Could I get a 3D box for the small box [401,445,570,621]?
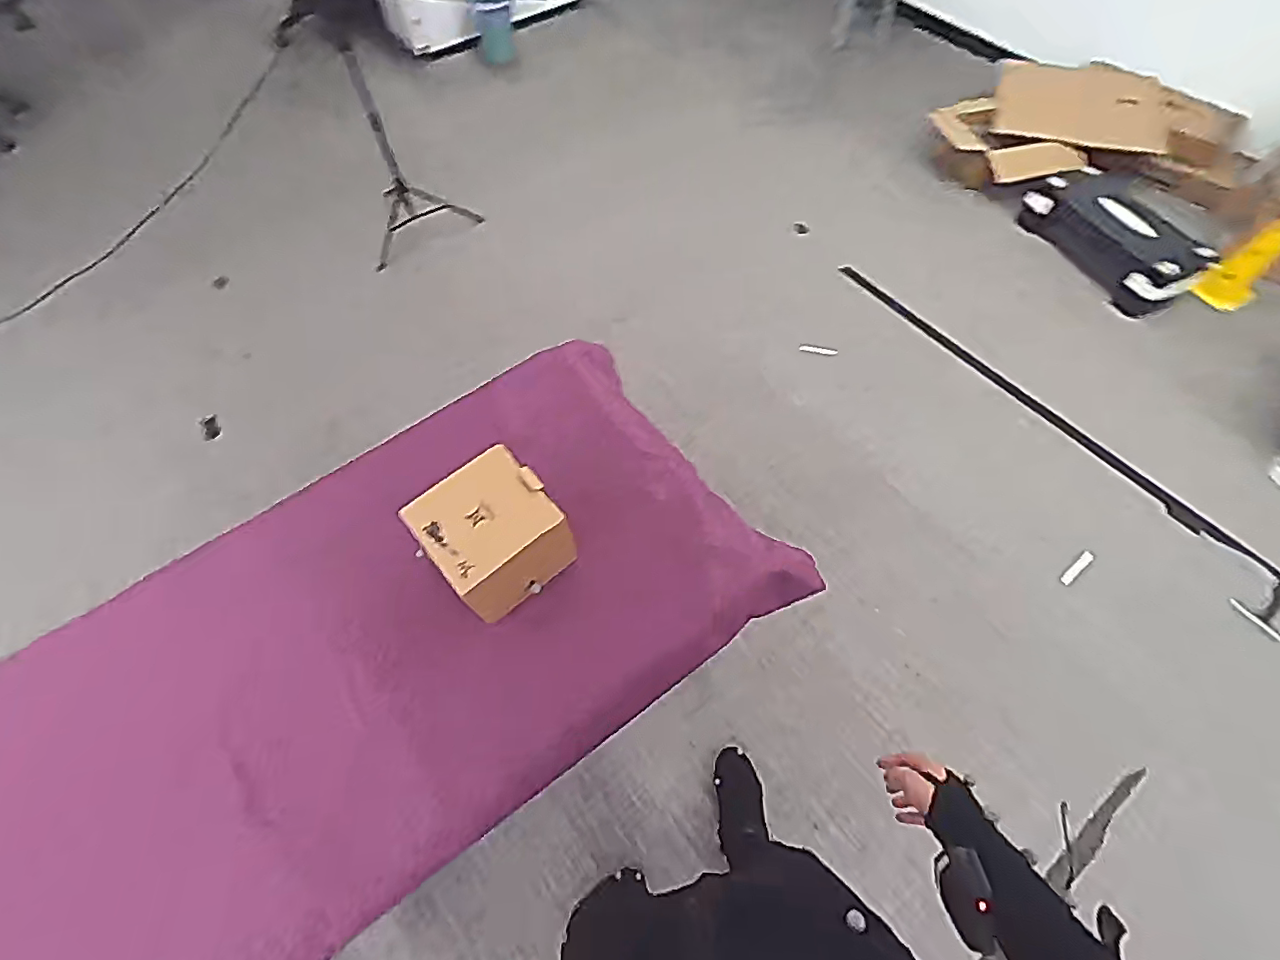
[{"bbox_3d":[-0.221,0.085,0.824,0.179,0.176,0.168,-37,67,-19],"label":"small box"}]
